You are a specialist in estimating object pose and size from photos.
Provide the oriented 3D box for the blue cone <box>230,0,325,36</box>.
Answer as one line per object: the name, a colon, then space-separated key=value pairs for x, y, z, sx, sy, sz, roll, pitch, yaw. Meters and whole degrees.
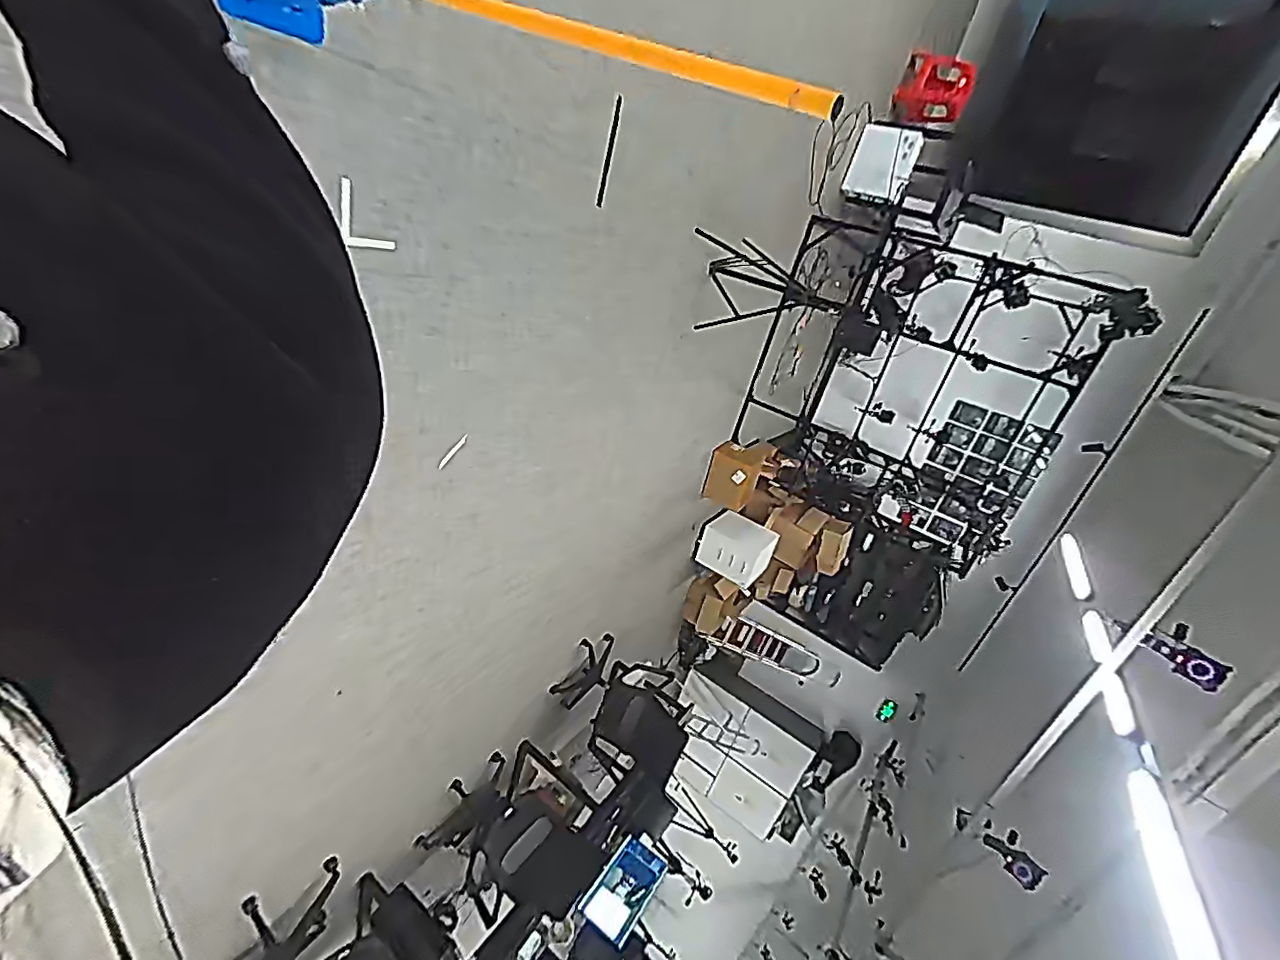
blue cone: x=-0.577 y=-0.930 z=0.982 sx=0.193 sy=0.380 sz=0.192 roll=-27 pitch=137 yaw=-52
